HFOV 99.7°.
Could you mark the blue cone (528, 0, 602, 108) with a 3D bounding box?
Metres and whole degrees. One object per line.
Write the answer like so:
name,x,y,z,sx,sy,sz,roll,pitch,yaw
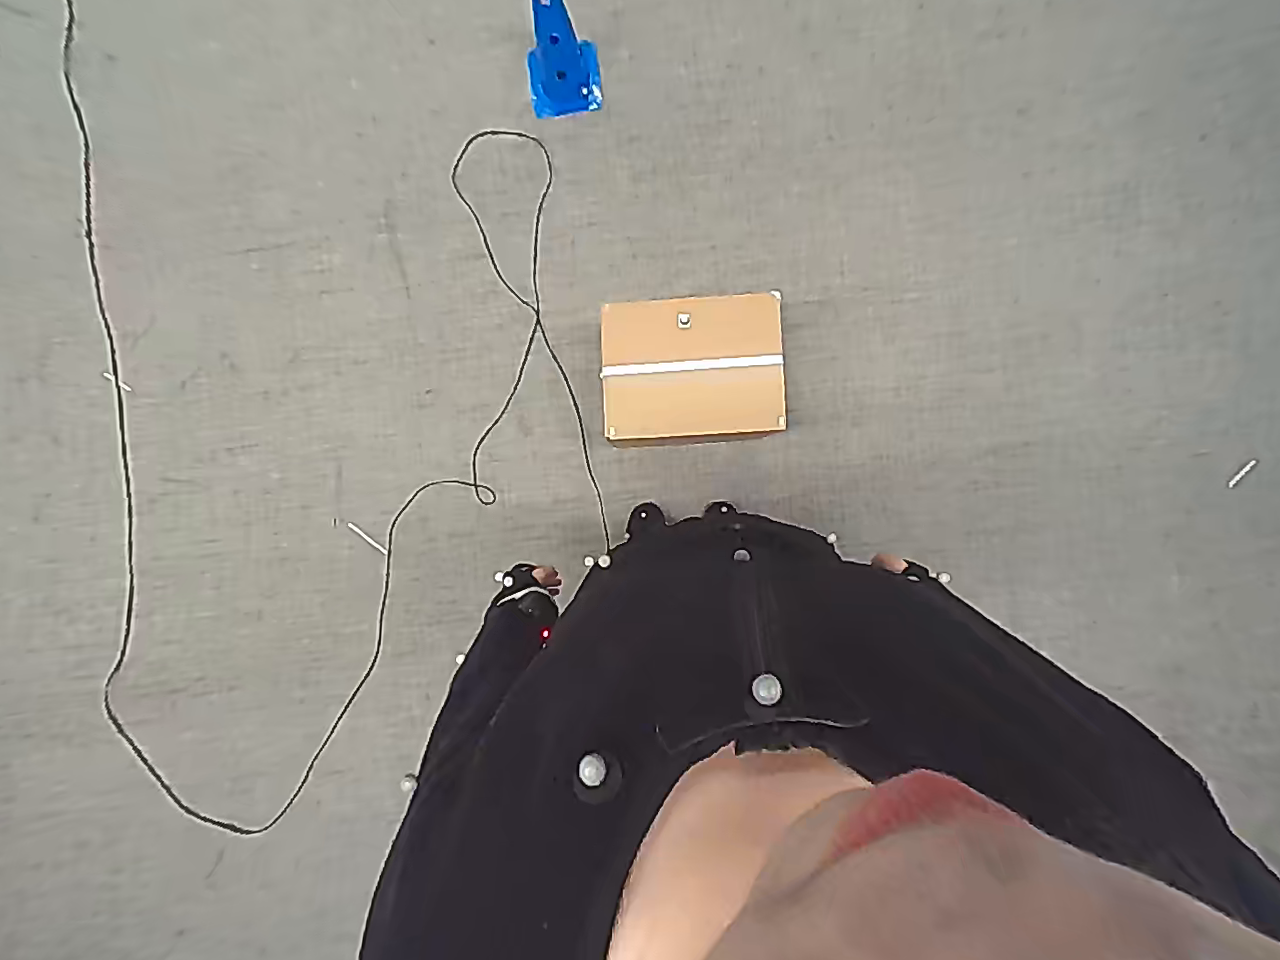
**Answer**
blue cone,-0.214,-1.145,1.342,0.193,0.380,0.192,-9,89,1
